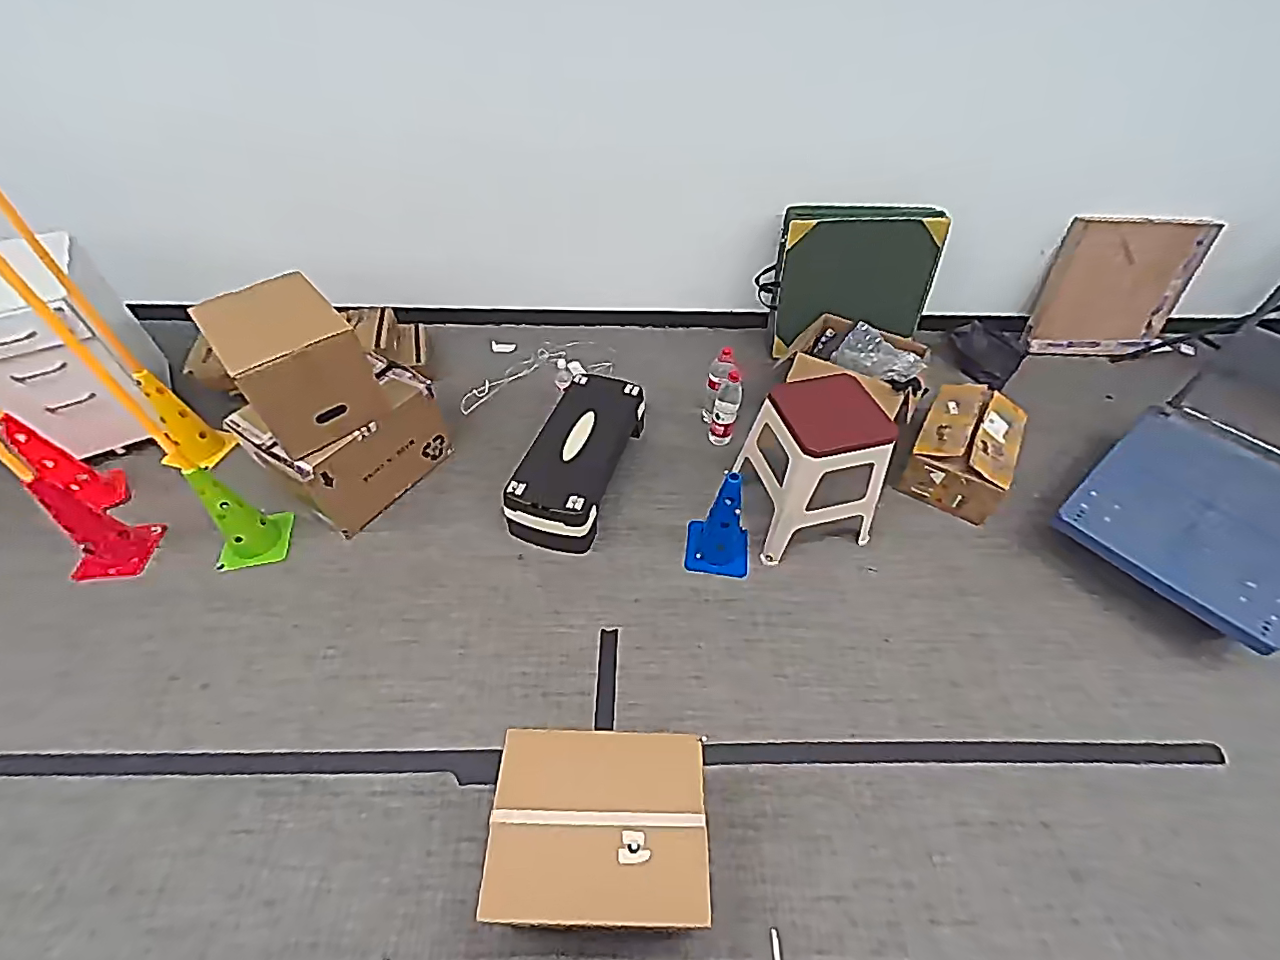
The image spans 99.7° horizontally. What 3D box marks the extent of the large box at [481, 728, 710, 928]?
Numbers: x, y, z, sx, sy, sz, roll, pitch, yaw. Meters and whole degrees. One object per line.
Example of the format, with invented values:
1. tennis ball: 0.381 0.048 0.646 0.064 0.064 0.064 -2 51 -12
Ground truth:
1. large box: -0.084 0.733 1.133 0.408 0.320 0.320 3 50 -1
